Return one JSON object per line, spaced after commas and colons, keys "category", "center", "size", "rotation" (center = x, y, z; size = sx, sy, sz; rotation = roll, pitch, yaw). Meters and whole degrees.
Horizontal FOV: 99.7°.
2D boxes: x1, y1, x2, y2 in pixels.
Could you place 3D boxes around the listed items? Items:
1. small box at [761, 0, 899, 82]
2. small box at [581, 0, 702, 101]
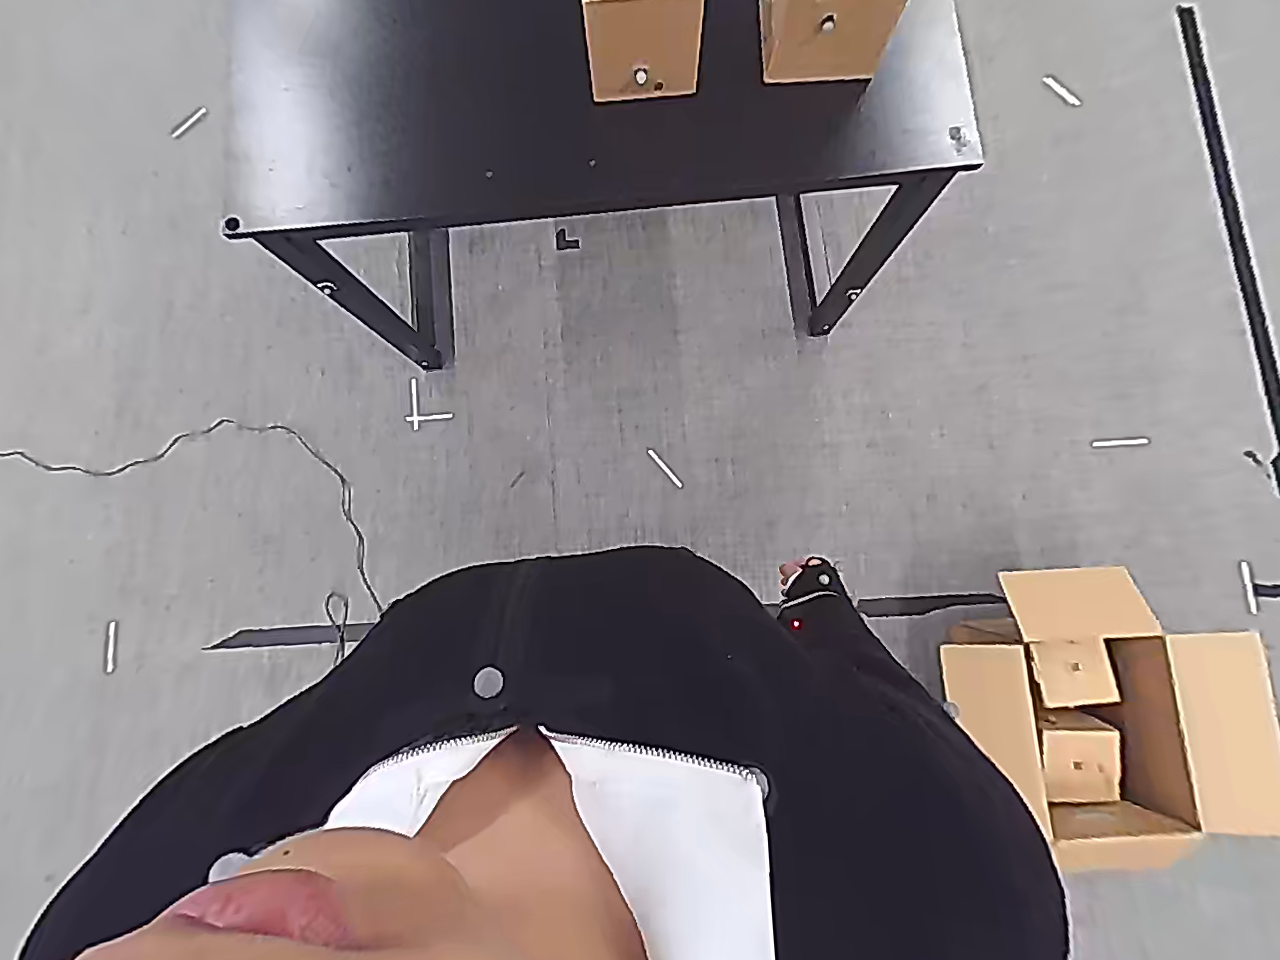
{"category": "small box", "center": [0.279, -0.729, 0.799], "size": [0.179, 0.176, 0.168], "rotation": [-2, 83, 2]}
{"category": "small box", "center": [-0.002, -0.712, 0.804], "size": [0.168, 0.176, 0.179], "rotation": [-4, 83, 1]}
